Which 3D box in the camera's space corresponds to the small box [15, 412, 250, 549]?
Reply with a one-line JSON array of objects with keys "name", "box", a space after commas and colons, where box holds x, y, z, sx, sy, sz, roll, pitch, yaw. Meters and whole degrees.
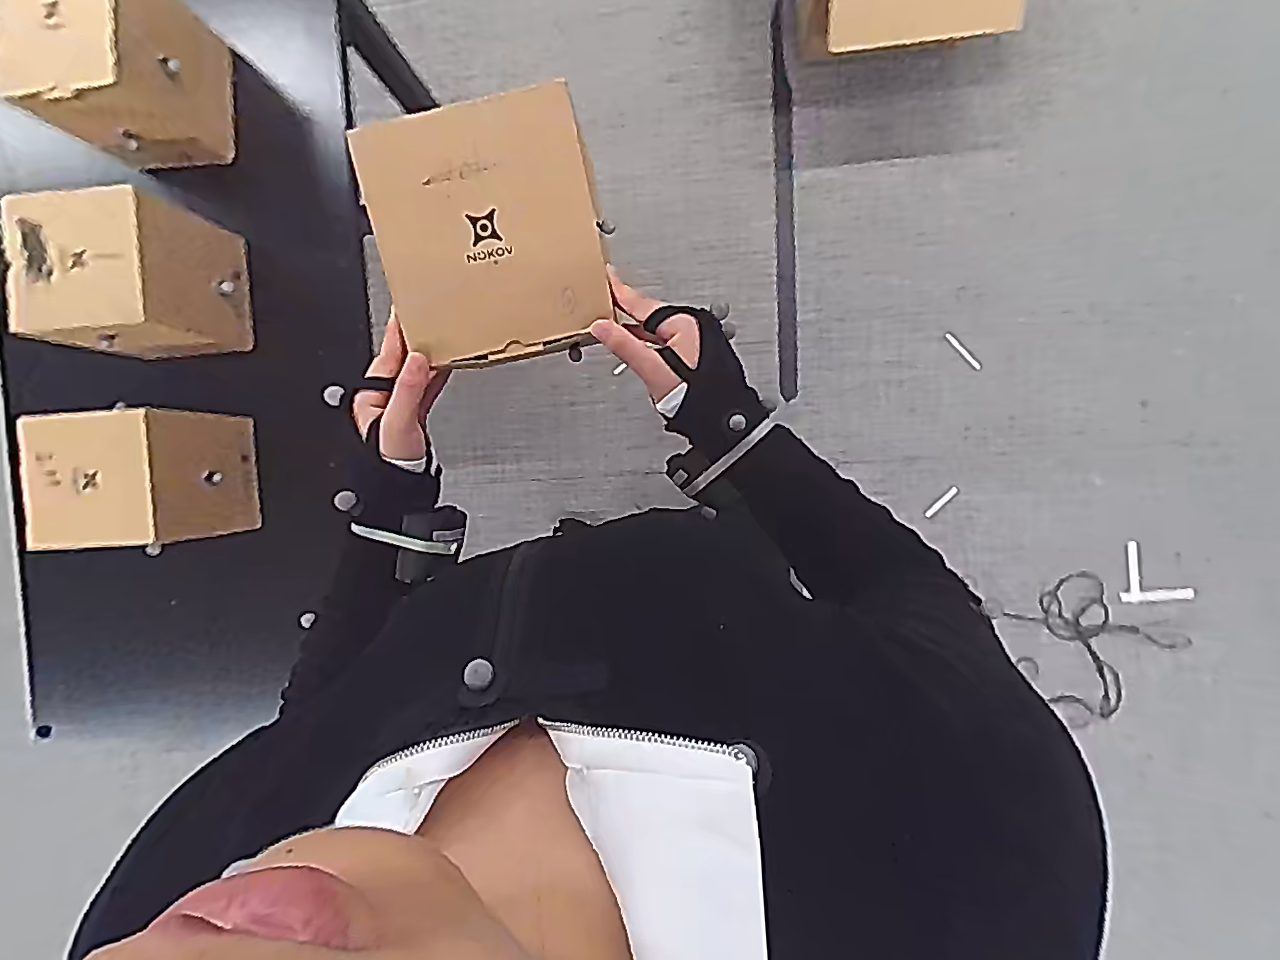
[{"name": "small box", "box": [-0.671, -0.002, 0.740, 0.179, 0.176, 0.168, -3, 92, 5]}]

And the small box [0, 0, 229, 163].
[{"name": "small box", "box": [-0.689, -0.548, 0.720, 0.168, 0.176, 0.179, -1, 94, 5]}]

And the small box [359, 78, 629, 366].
[{"name": "small box", "box": [-0.106, -0.203, 0.479, 0.168, 0.176, 0.179, -11, 101, 3]}]

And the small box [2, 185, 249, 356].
[{"name": "small box", "box": [-0.677, -0.267, 0.730, 0.179, 0.176, 0.168, -3, 92, 5]}]
